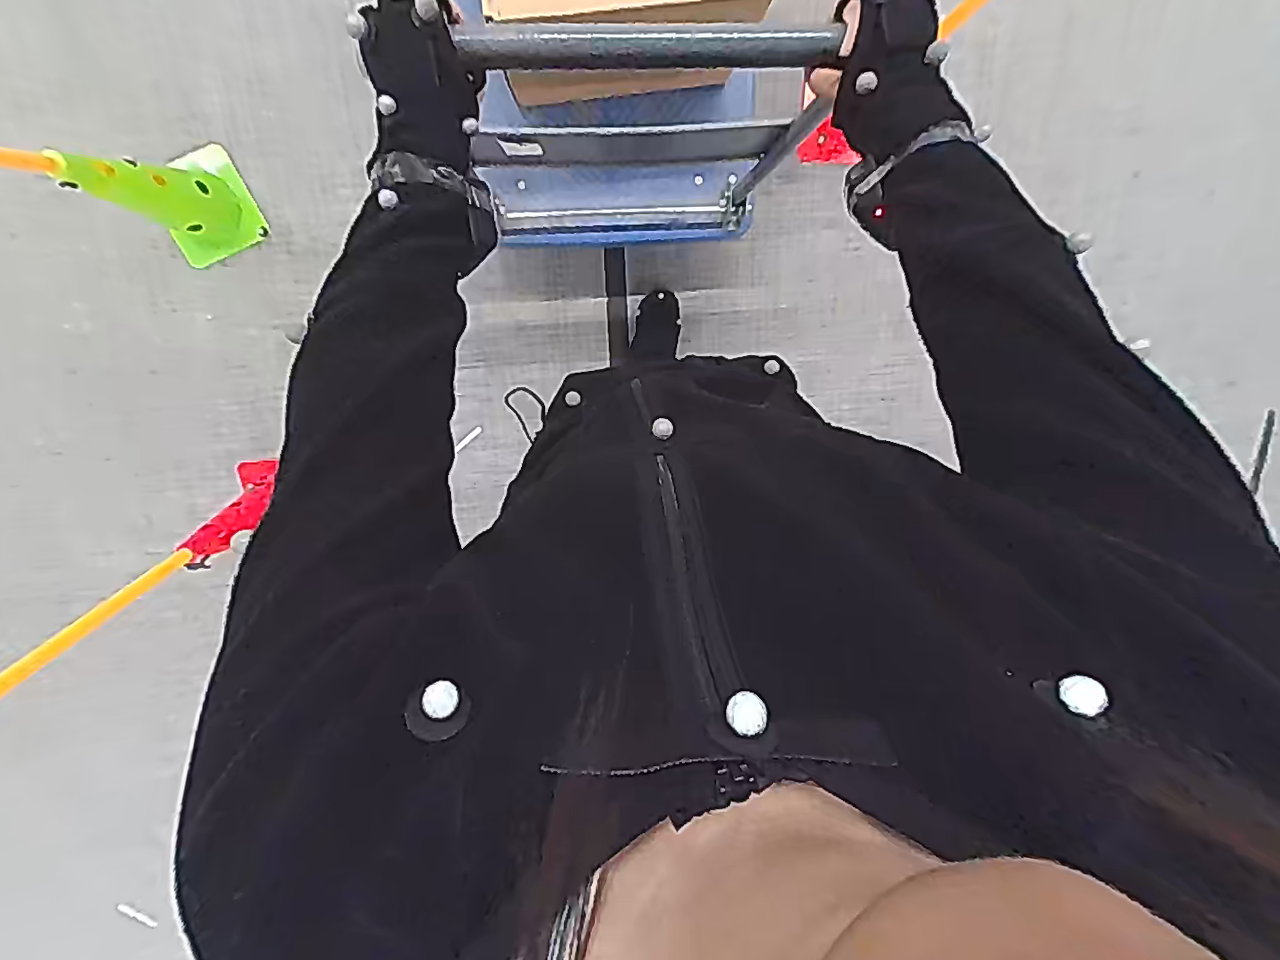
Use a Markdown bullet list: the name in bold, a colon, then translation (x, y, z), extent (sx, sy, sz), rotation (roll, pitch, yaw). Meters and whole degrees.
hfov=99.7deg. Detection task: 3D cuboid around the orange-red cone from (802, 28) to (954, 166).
- **orange-red cone**: translation (0.490, -0.781, 1.064), extent (0.199, 0.360, 0.198), rotation (2, 107, -6)
